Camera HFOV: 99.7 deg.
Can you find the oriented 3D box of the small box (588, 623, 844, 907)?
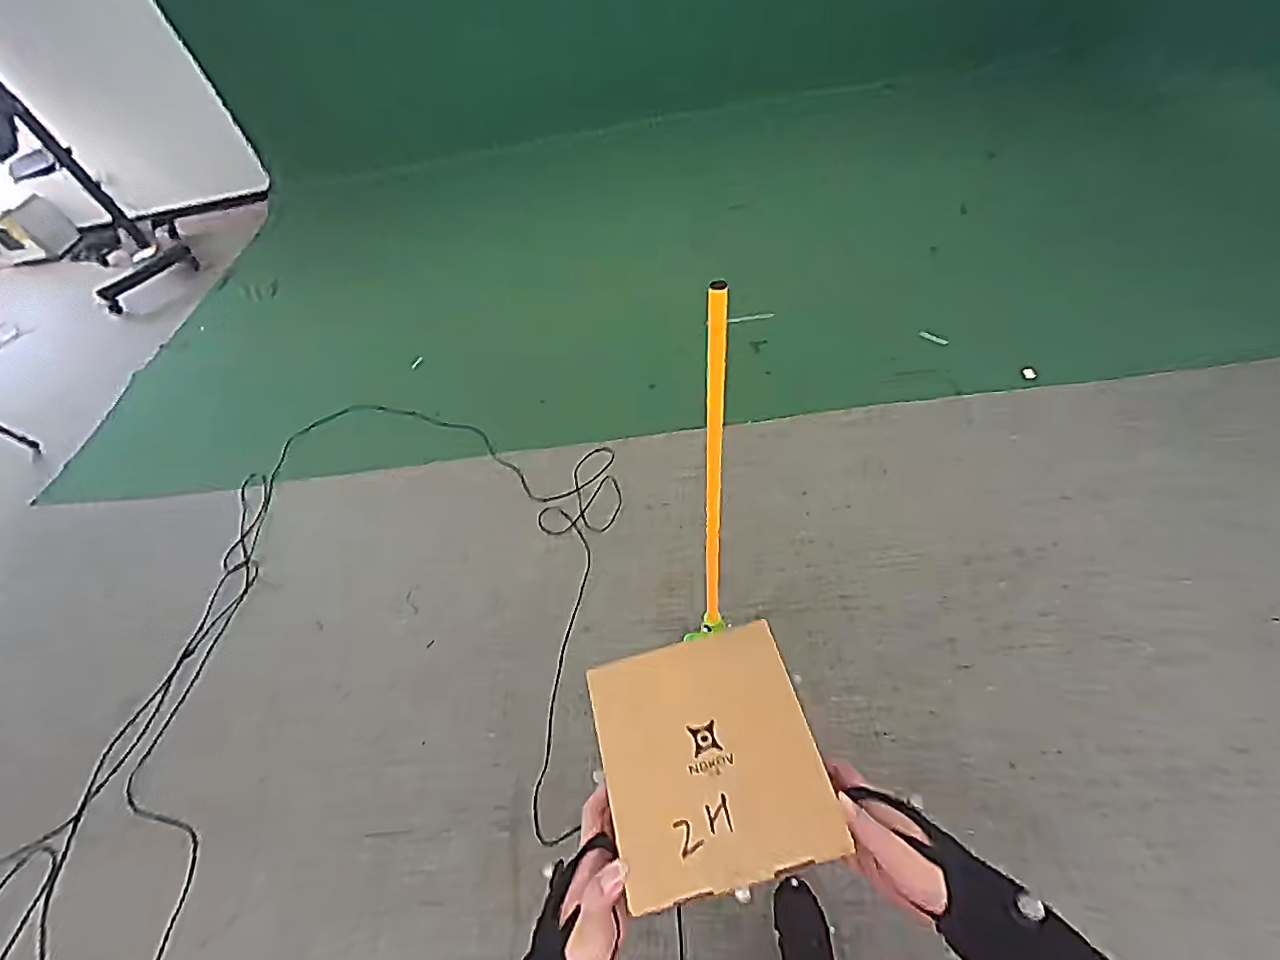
[{"bbox_3d":[0.059,0.259,0.496,0.168,0.176,0.179,-15,56,-1],"label":"small box"}]
